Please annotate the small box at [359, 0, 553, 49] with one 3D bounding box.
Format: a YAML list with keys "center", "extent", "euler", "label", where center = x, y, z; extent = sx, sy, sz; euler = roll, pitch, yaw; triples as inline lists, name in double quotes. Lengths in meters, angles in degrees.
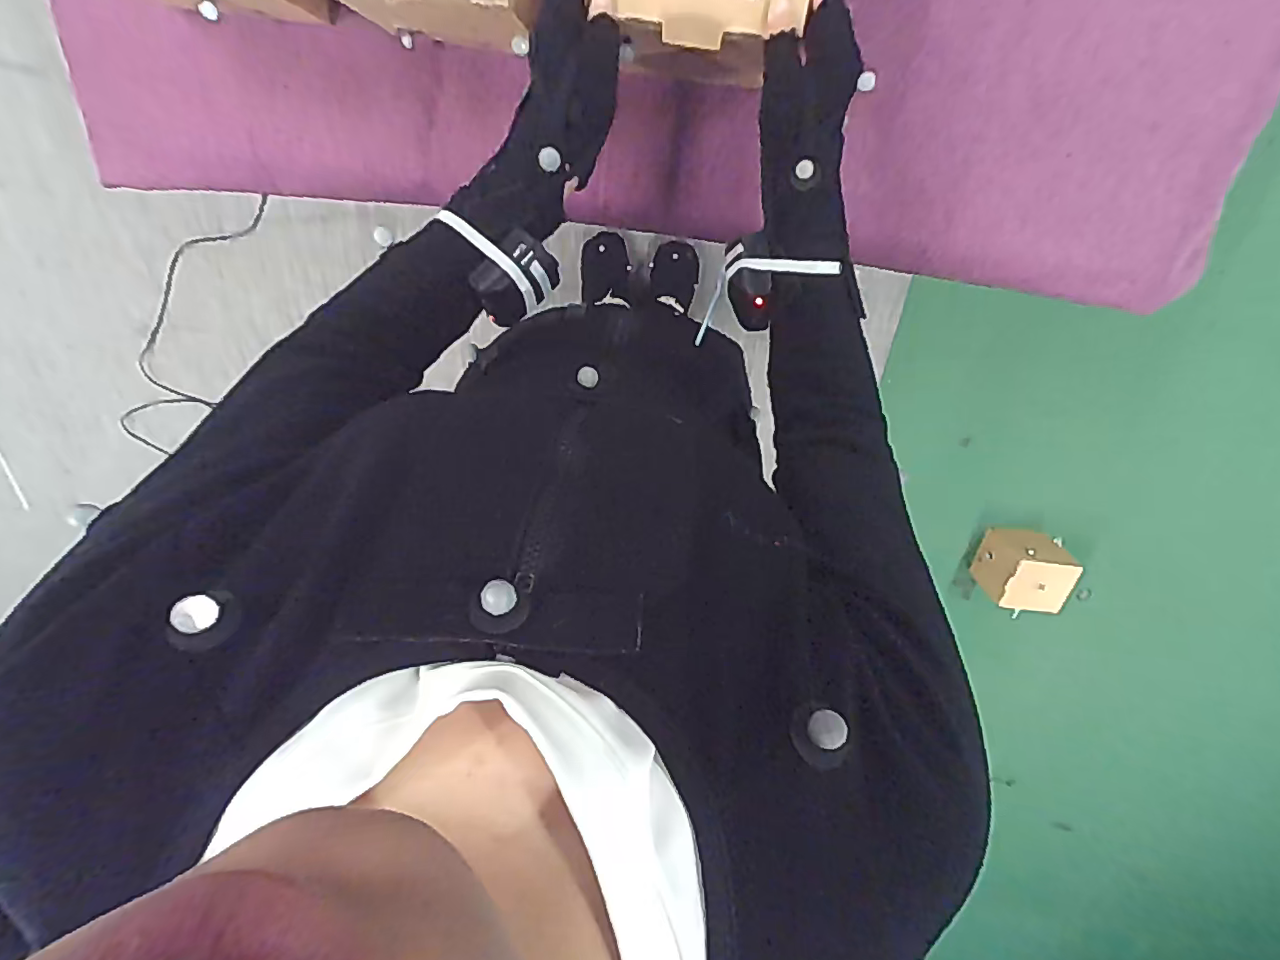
- center: [-0.161, -0.480, 0.435]
  extent: [0.168, 0.176, 0.179]
  euler: [8, 116, -2]
  label: "small box"

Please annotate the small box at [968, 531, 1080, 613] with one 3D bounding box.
- center: [1.109, 0.264, 1.578]
  extent: [0.179, 0.176, 0.168]
  euler: [7, 117, -1]
  label: "small box"

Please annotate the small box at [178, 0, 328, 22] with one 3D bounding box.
- center: [-0.380, -0.507, 0.427]
  extent: [0.168, 0.176, 0.179]
  euler: [7, 117, -1]
  label: "small box"
